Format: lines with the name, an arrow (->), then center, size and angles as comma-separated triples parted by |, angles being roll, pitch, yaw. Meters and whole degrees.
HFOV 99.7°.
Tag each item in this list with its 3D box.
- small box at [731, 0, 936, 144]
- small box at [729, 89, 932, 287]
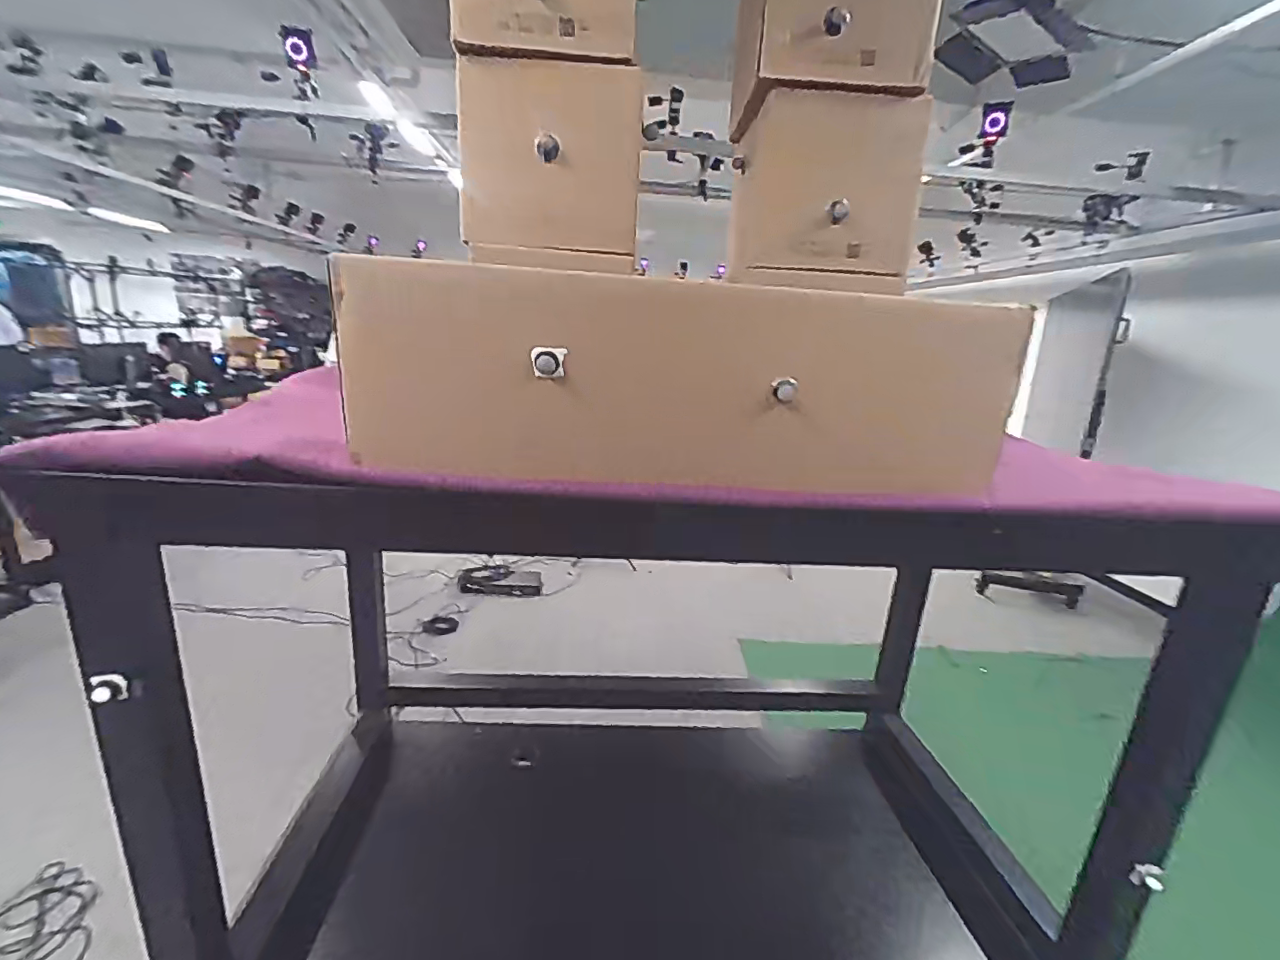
small box -> 0.196, -0.475, 0.583 | 0.168, 0.176, 0.179 | 2, 15, -1
small box -> 0.202, -0.318, 0.629 | 0.168, 0.176, 0.179 | 2, 15, -1
